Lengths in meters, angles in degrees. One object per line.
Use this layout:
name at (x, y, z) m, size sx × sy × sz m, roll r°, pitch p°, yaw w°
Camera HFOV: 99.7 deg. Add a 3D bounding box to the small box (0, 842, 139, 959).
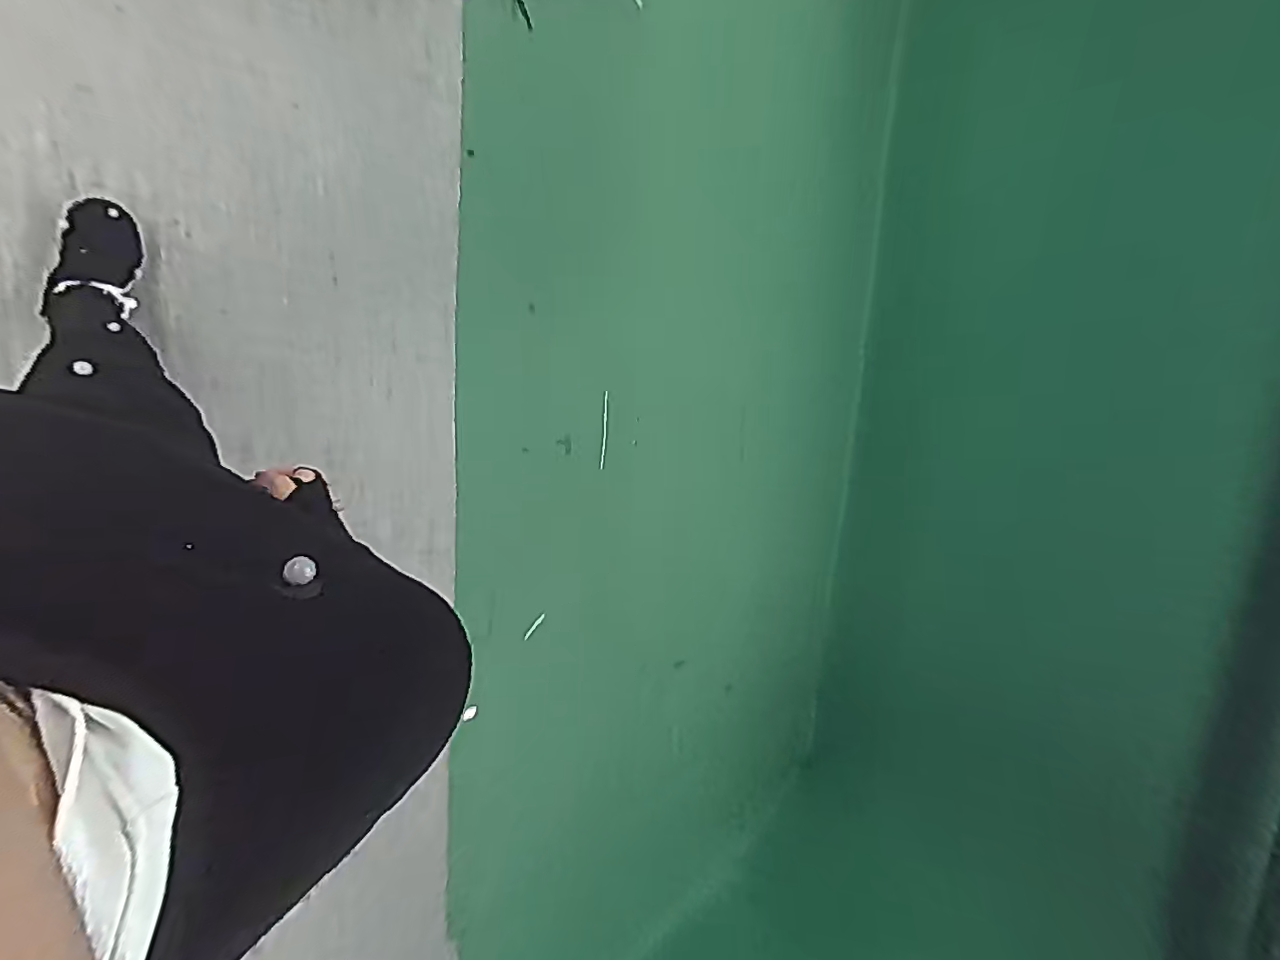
small box at (-1.247, 0.926, 1.180) m, size 0.168 × 0.176 × 0.179 m, roll 28°, pitch 79°, yaw -47°
